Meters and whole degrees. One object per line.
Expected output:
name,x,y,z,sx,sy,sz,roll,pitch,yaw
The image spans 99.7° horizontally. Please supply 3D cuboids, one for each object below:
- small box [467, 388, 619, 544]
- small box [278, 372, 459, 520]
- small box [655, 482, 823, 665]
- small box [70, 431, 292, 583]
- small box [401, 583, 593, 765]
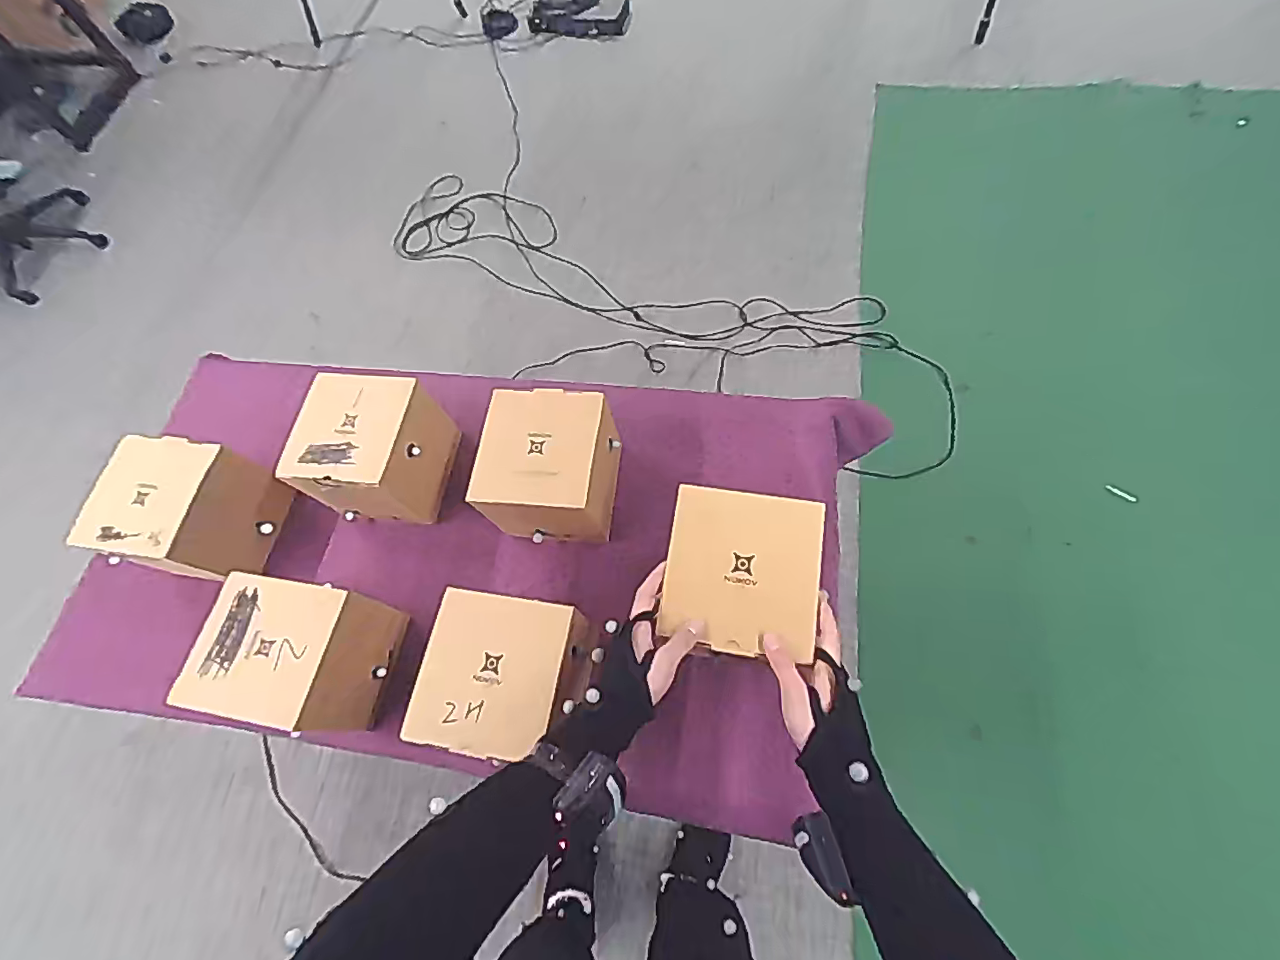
small box,-0.130,-0.017,0.808,0.168,0.176,0.179,4,68,9
small box,-0.410,-0.047,0.852,0.168,0.176,0.179,5,66,9
small box,0.117,0.121,0.663,0.168,0.176,0.179,8,71,9
small box,-0.690,0.046,0.841,0.168,0.176,0.179,6,67,11
small box,-0.164,0.248,0.691,0.168,0.176,0.179,7,66,10
